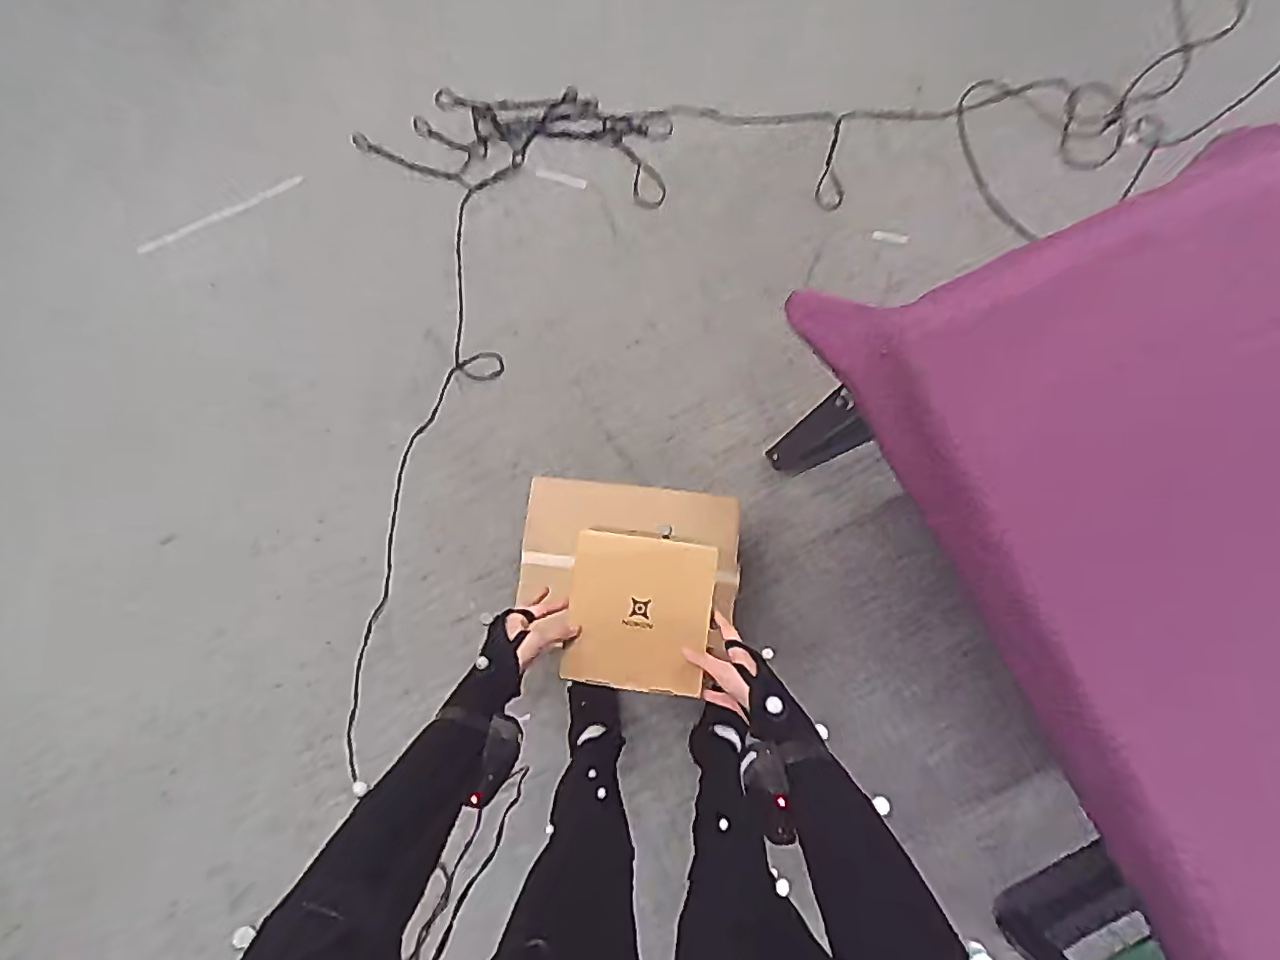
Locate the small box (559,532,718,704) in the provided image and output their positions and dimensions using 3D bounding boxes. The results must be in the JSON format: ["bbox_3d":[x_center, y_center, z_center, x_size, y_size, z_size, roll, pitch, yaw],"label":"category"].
[{"bbox_3d":[-0.002,0.164,0.697,0.168,0.176,0.179,7,87,0],"label":"small box"}]
